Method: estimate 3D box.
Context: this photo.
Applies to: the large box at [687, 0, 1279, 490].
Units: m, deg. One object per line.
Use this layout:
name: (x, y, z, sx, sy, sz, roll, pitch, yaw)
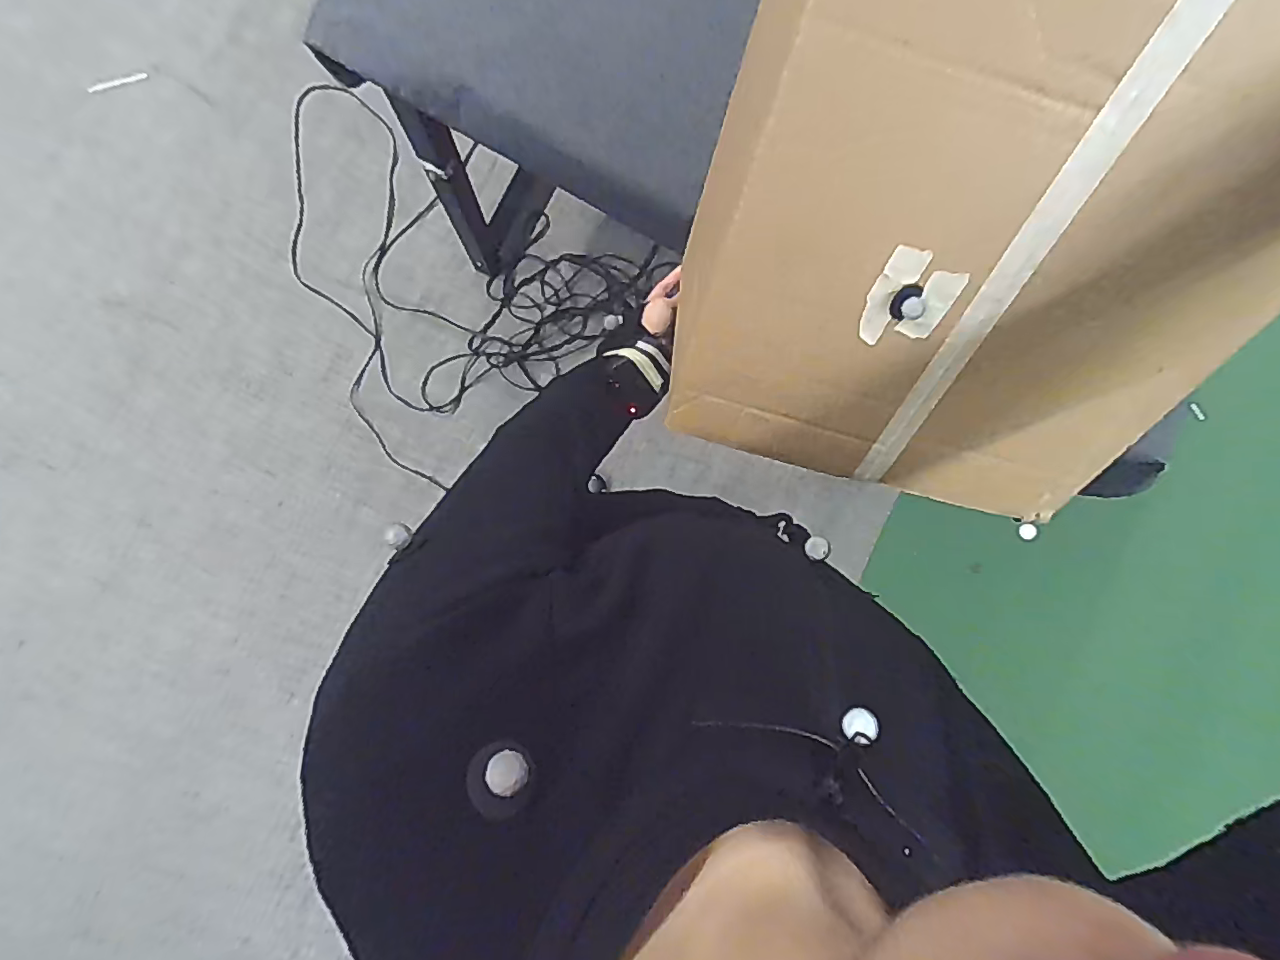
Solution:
large box: (0.235, -0.262, 0.401, 0.320, 0.408, 0.320, 13, 43, -4)
